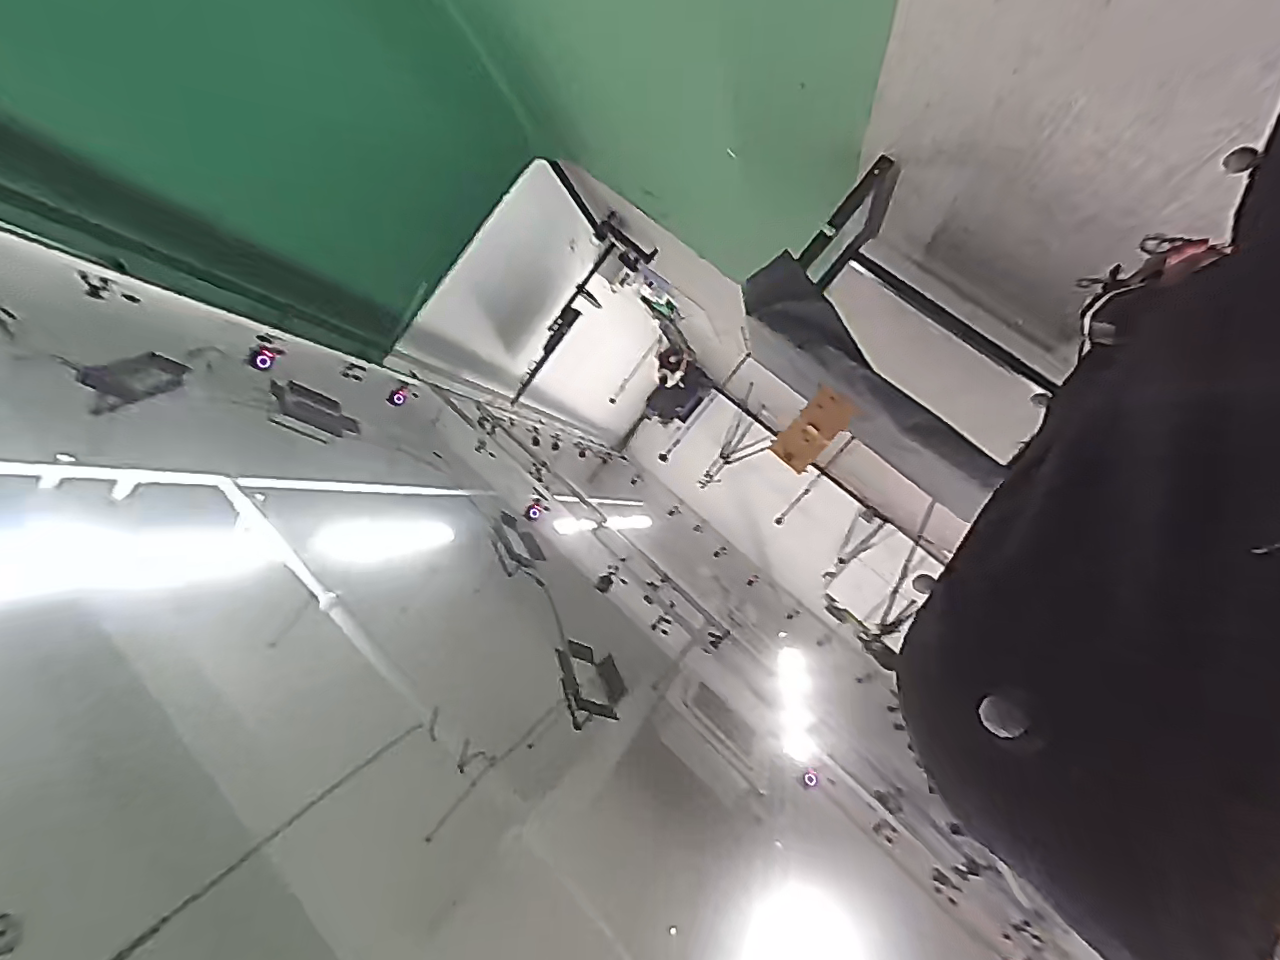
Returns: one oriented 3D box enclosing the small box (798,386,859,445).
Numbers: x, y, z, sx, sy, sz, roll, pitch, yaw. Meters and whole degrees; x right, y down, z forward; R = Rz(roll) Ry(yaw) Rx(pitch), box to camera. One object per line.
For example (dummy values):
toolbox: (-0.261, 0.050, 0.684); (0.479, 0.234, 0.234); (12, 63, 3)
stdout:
small box: (0.740, -0.252, 2.143); (0.168, 0.176, 0.179); (43, -171, 10)

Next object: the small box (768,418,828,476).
small box: (0.635, -0.132, 2.181); (0.168, 0.176, 0.179); (43, -173, 9)
